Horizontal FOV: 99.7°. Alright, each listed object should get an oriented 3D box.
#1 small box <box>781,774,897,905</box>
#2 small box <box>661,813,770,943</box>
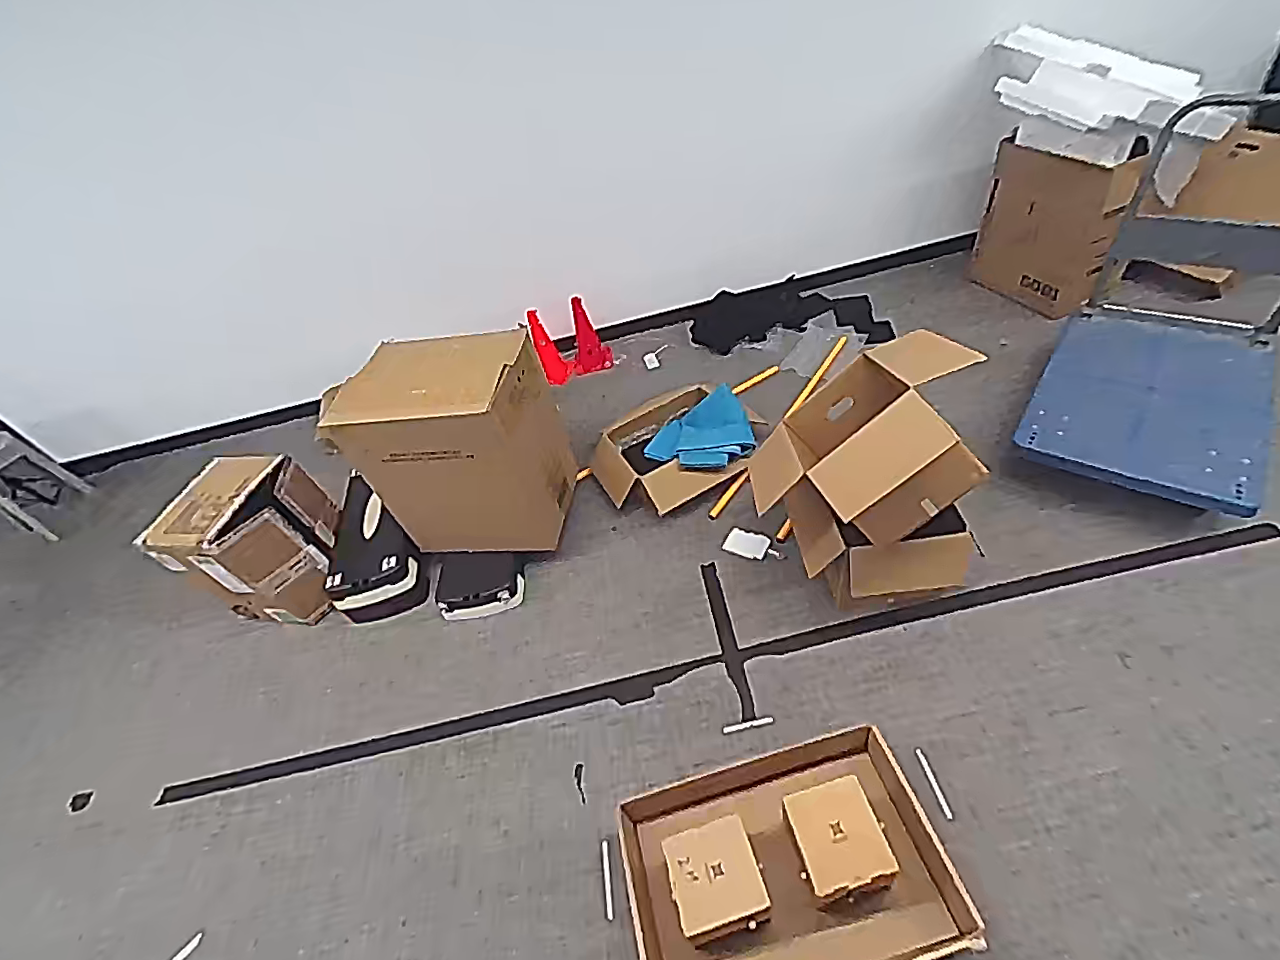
[{"bbox_3d":[0.404,0.753,1.131,0.168,0.176,0.179,-17,45,-1],"label":"small box"},{"bbox_3d":[0.155,0.826,1.122,0.179,0.176,0.168,-17,44,-4],"label":"small box"}]
